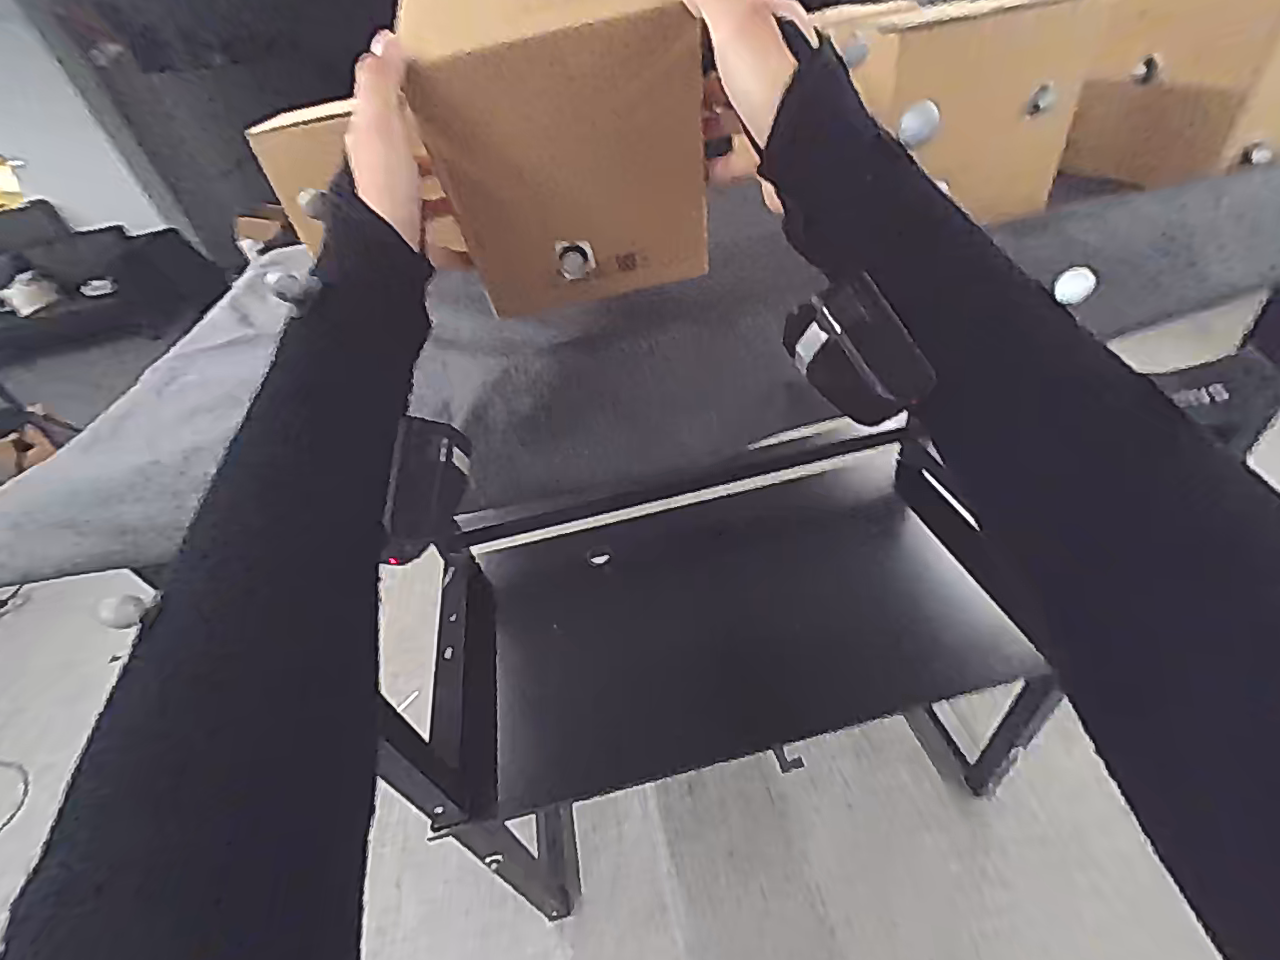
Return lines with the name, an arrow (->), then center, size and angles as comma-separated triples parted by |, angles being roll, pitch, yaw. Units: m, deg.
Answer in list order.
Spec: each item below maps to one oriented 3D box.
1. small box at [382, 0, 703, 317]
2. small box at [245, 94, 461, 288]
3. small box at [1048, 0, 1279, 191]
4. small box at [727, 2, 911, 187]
small box -> -0.056, -0.248, 0.386 | 0.168, 0.176, 0.179 | -14, 55, 0
small box -> -0.330, -0.360, 0.671 | 0.179, 0.176, 0.168 | -15, 41, -6
small box -> 0.547, -0.390, 0.511 | 0.168, 0.176, 0.179 | -16, 40, -6
small box -> 0.226, -0.508, 0.721 | 0.168, 0.176, 0.179 | -15, 41, -4
